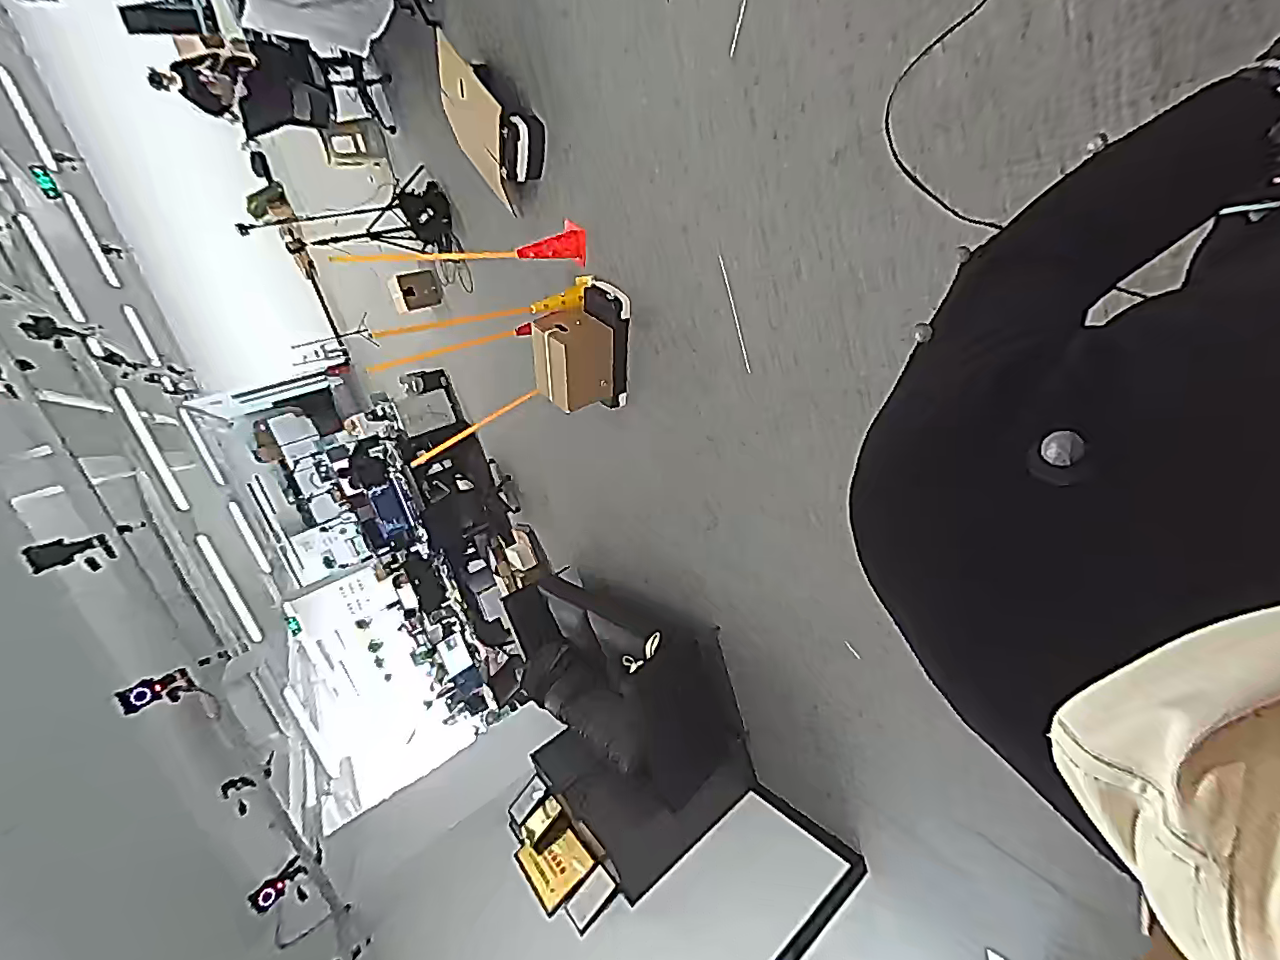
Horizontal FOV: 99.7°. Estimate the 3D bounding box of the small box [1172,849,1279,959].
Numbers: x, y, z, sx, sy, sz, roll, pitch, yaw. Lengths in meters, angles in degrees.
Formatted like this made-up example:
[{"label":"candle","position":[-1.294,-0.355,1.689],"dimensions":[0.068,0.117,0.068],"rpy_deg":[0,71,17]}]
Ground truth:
[{"label":"small box","position":[1.220,0.914,1.097],"dimensions":[0.168,0.176,0.179],"rpy_deg":[11,120,57]}]
